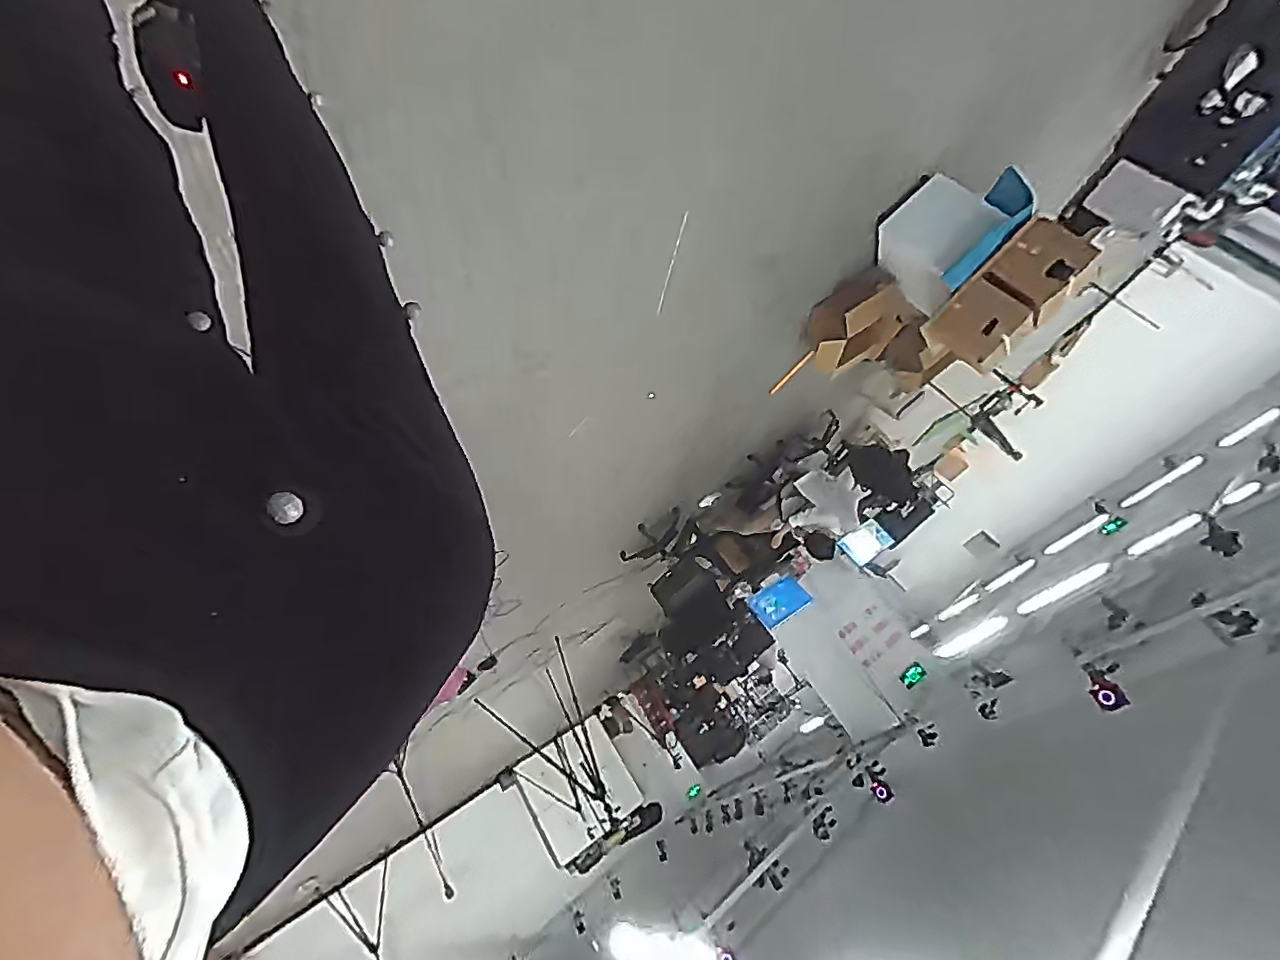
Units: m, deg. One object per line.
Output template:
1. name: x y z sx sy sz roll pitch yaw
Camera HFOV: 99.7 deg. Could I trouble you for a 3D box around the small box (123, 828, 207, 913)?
1. small box: -1.597 1.304 1.810 0.168 0.176 0.179 -25 152 -31
